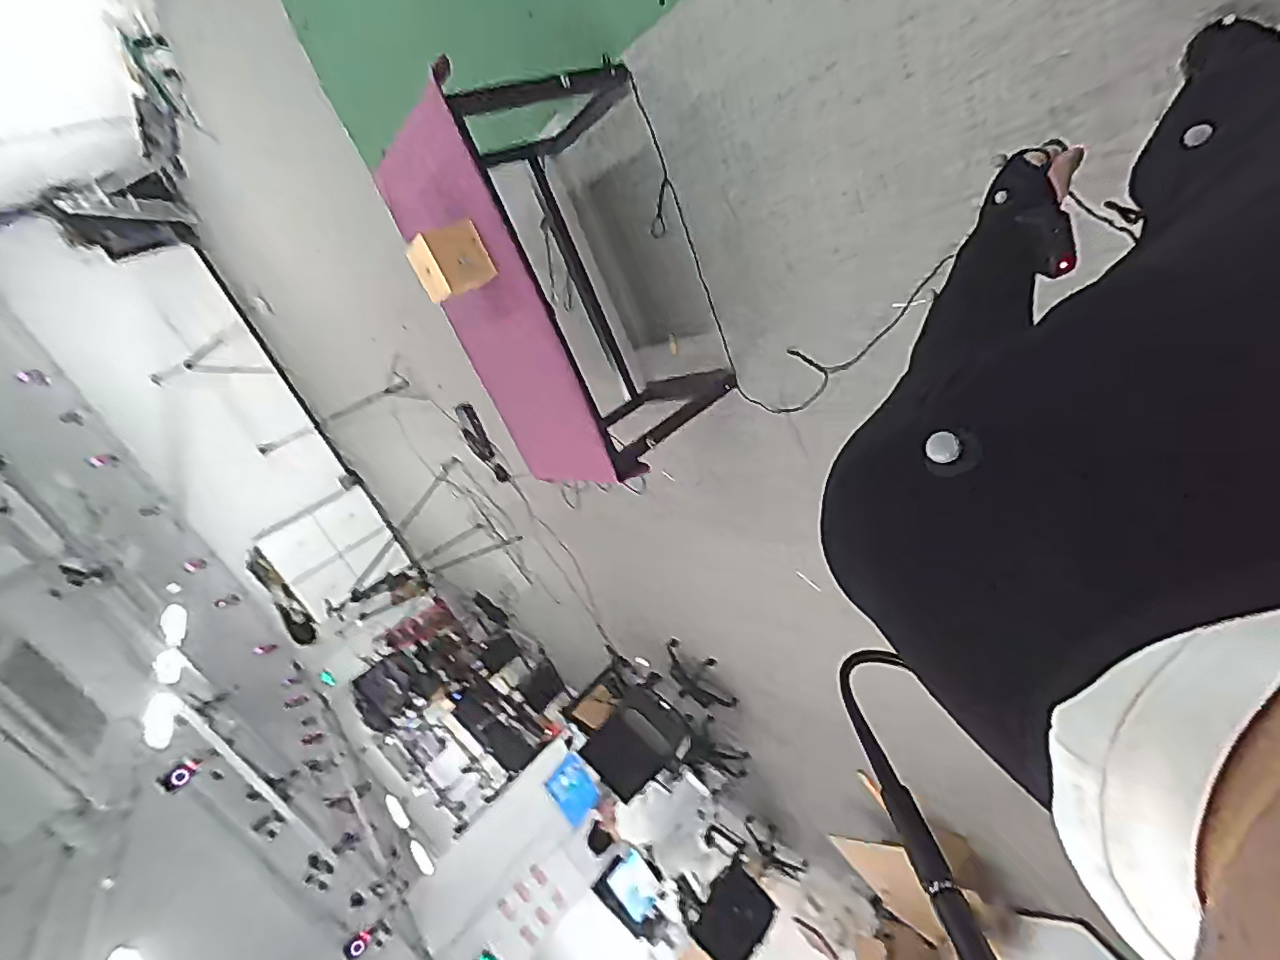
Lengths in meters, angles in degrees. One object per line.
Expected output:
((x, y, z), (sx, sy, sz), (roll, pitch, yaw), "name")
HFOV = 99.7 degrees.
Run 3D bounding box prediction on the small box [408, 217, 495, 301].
((-0.564, -0.669, 1.634), (0.179, 0.176, 0.168), (4, 125, 53), "small box")
